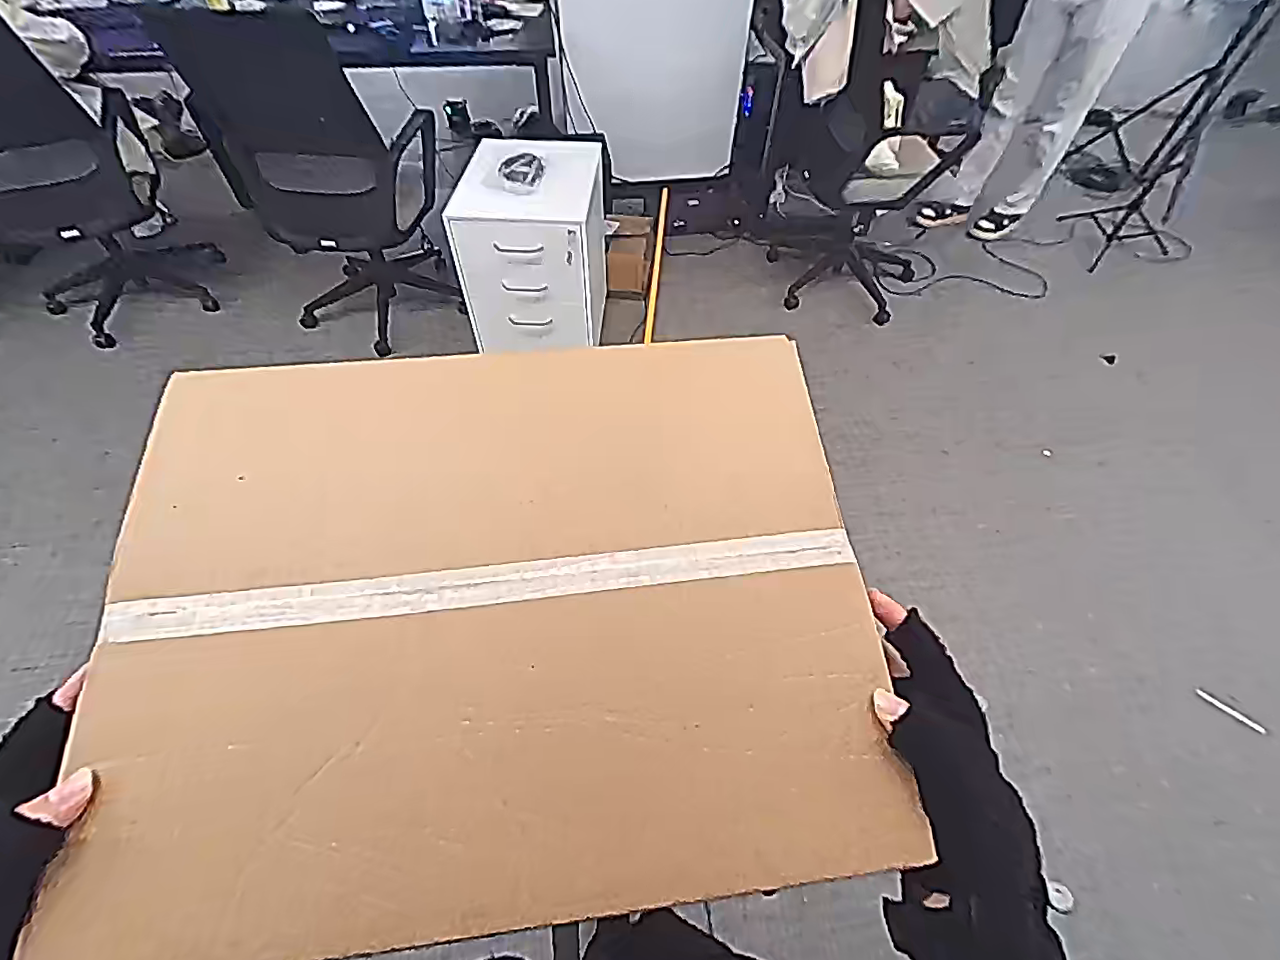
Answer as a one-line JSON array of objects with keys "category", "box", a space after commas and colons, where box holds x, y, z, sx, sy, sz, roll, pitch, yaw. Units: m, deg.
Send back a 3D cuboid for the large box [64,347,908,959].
[{"category": "large box", "box": [-0.083, 0.122, 0.447, 0.408, 0.320, 0.320, -5, 66, -5]}]
